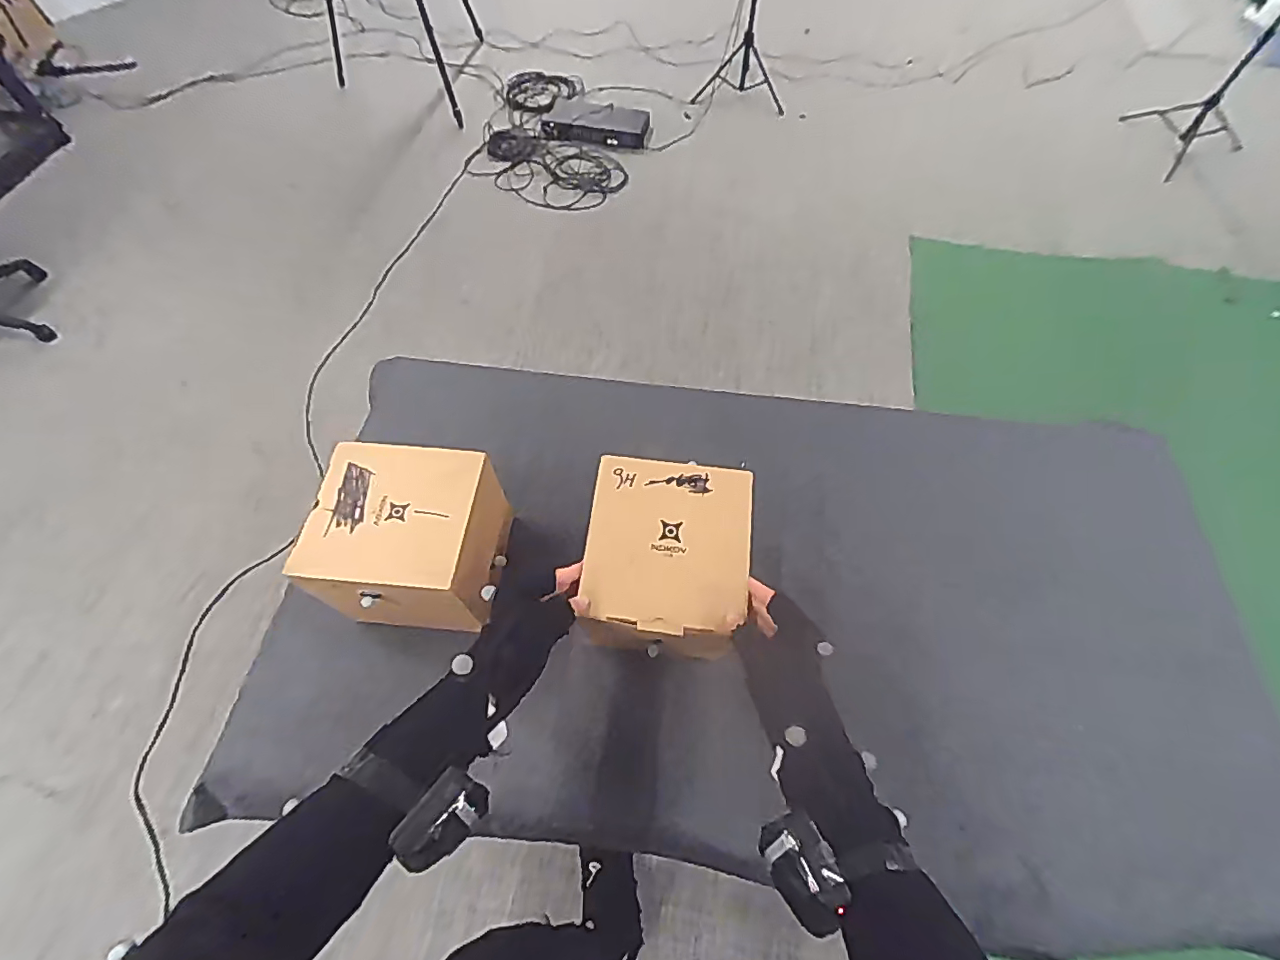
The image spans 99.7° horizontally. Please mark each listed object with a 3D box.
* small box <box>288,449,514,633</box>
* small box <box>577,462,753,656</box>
[{"bbox_3d":[-0.267,0.080,0.655,0.179,0.176,0.168,4,60,1],"label":"small box"},{"bbox_3d":[0.030,0.099,0.621,0.168,0.176,0.179,6,66,2],"label":"small box"}]
